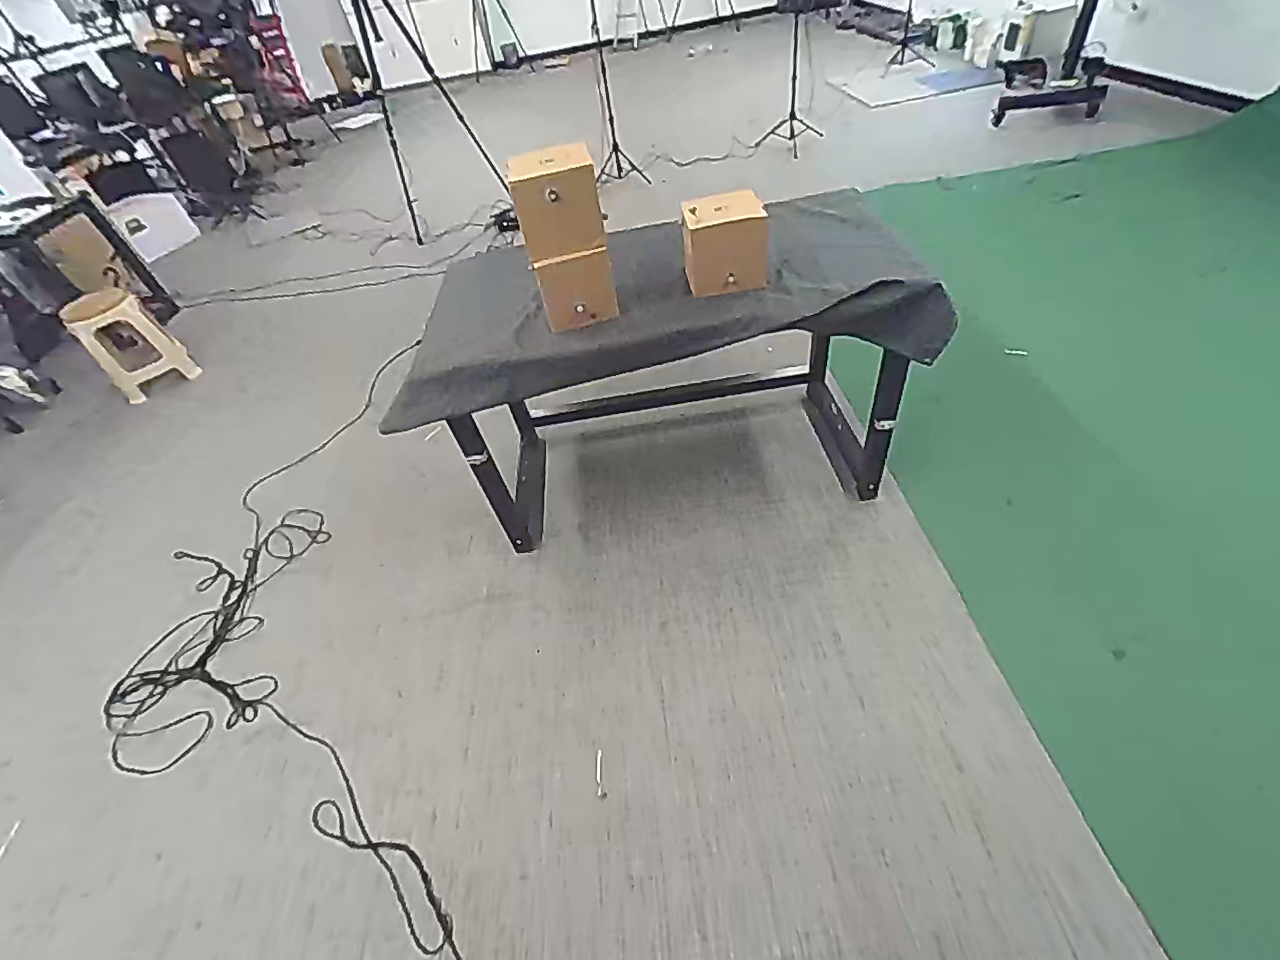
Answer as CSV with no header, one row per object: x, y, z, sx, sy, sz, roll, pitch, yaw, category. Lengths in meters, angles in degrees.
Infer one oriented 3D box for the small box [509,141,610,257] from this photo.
-0.173,-0.604,1.170,0.179,0.176,0.168,-12,47,-2,small box

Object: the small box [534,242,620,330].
-0.153,-0.481,1.276,0.168,0.176,0.179,-16,47,-4,small box

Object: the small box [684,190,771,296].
0.203,-0.558,1.280,0.179,0.176,0.168,-8,46,3,small box
